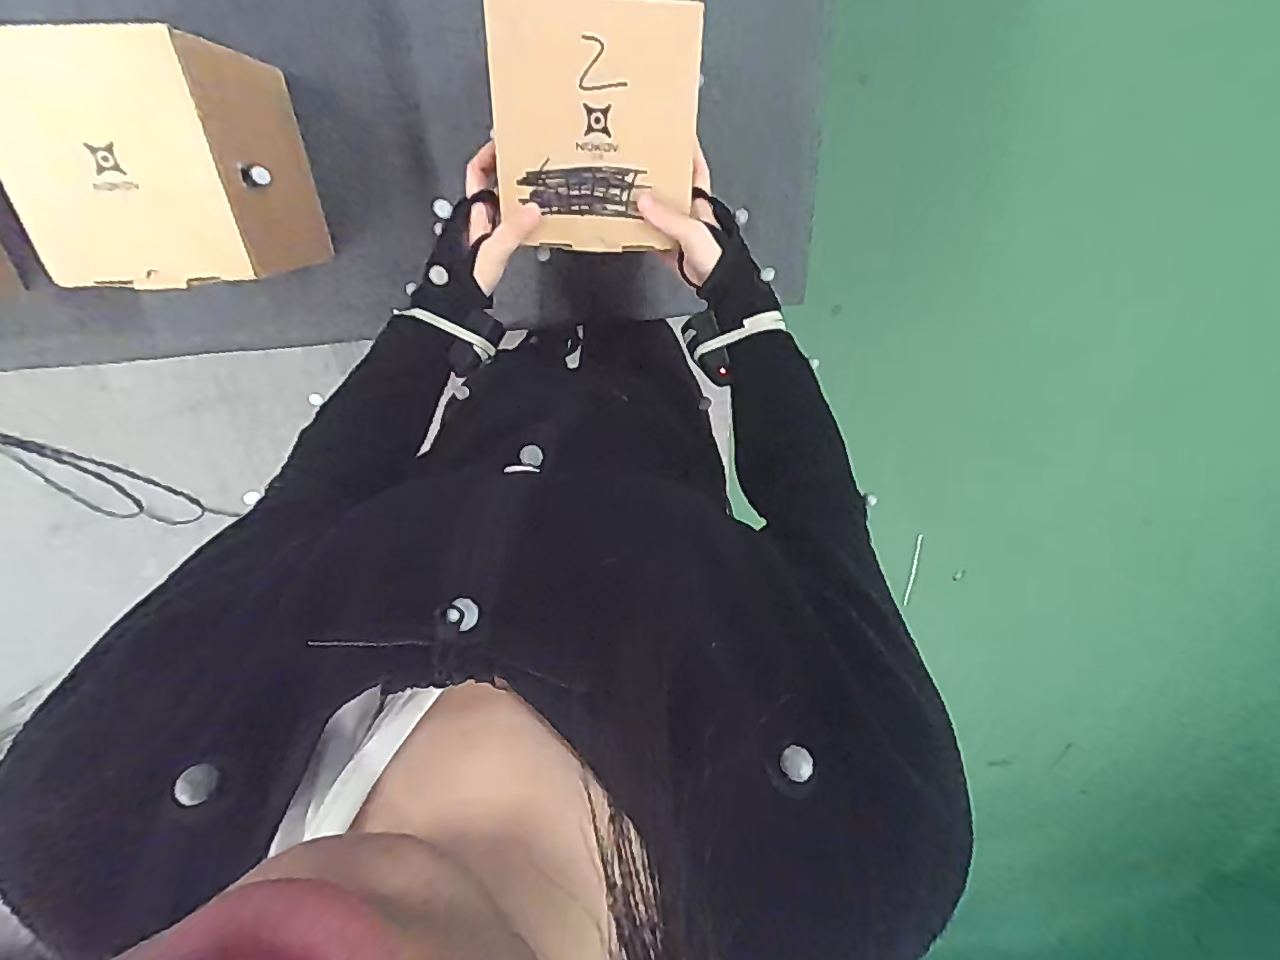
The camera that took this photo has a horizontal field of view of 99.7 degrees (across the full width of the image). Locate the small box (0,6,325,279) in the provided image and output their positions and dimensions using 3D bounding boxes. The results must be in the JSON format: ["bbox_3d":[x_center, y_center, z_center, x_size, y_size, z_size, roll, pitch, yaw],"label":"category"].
[{"bbox_3d":[-0.414,-0.282,0.477,0.168,0.176,0.179,-4,119,-5],"label":"small box"}]
